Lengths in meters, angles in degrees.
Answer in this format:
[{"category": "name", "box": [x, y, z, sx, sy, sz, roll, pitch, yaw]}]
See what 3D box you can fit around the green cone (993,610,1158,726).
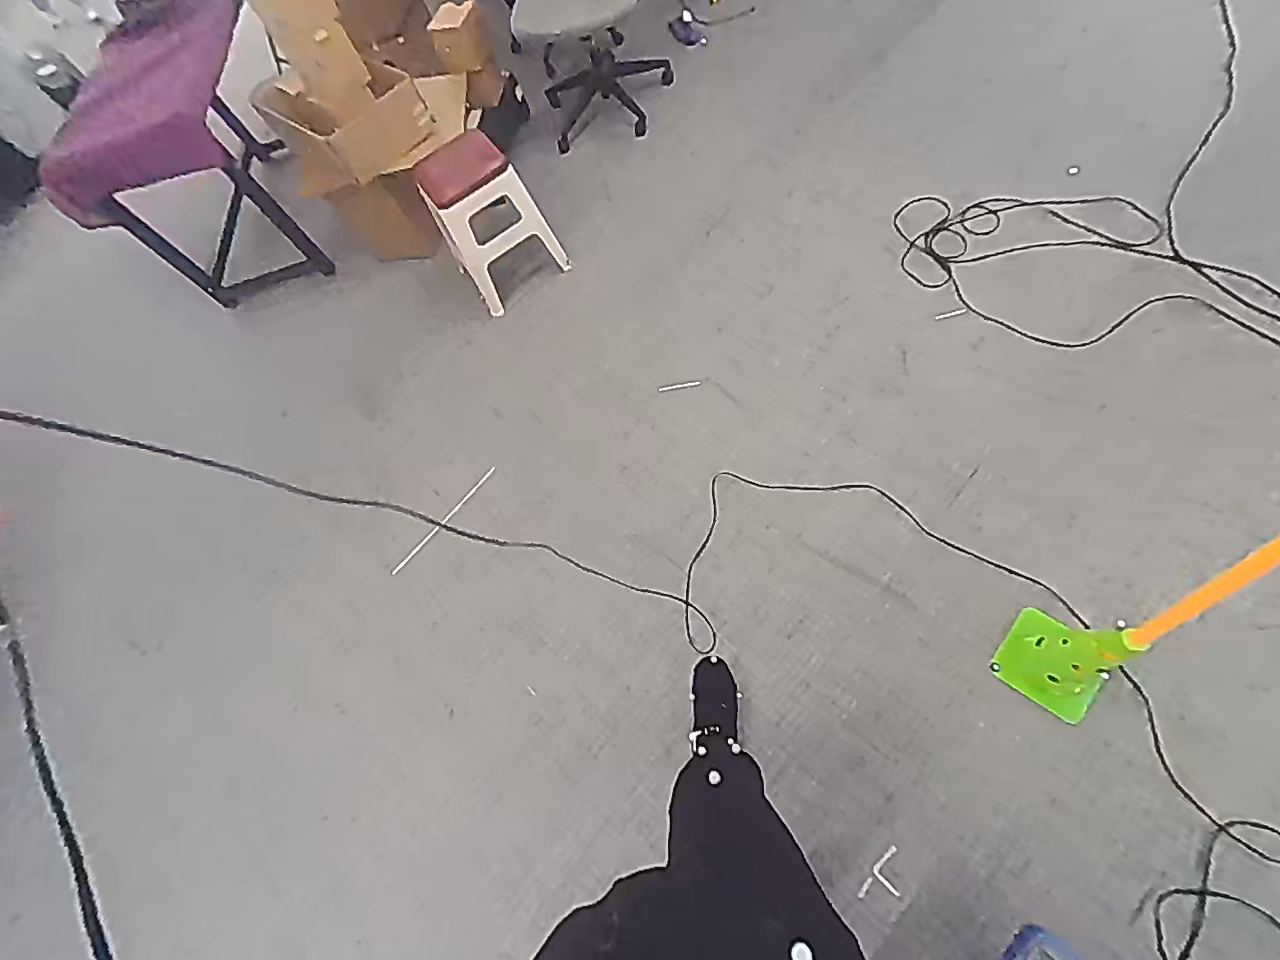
[{"category": "green cone", "box": [0.927, 0.359, 1.107, 0.200, 0.368, 0.202, 34, 76, 25]}]
